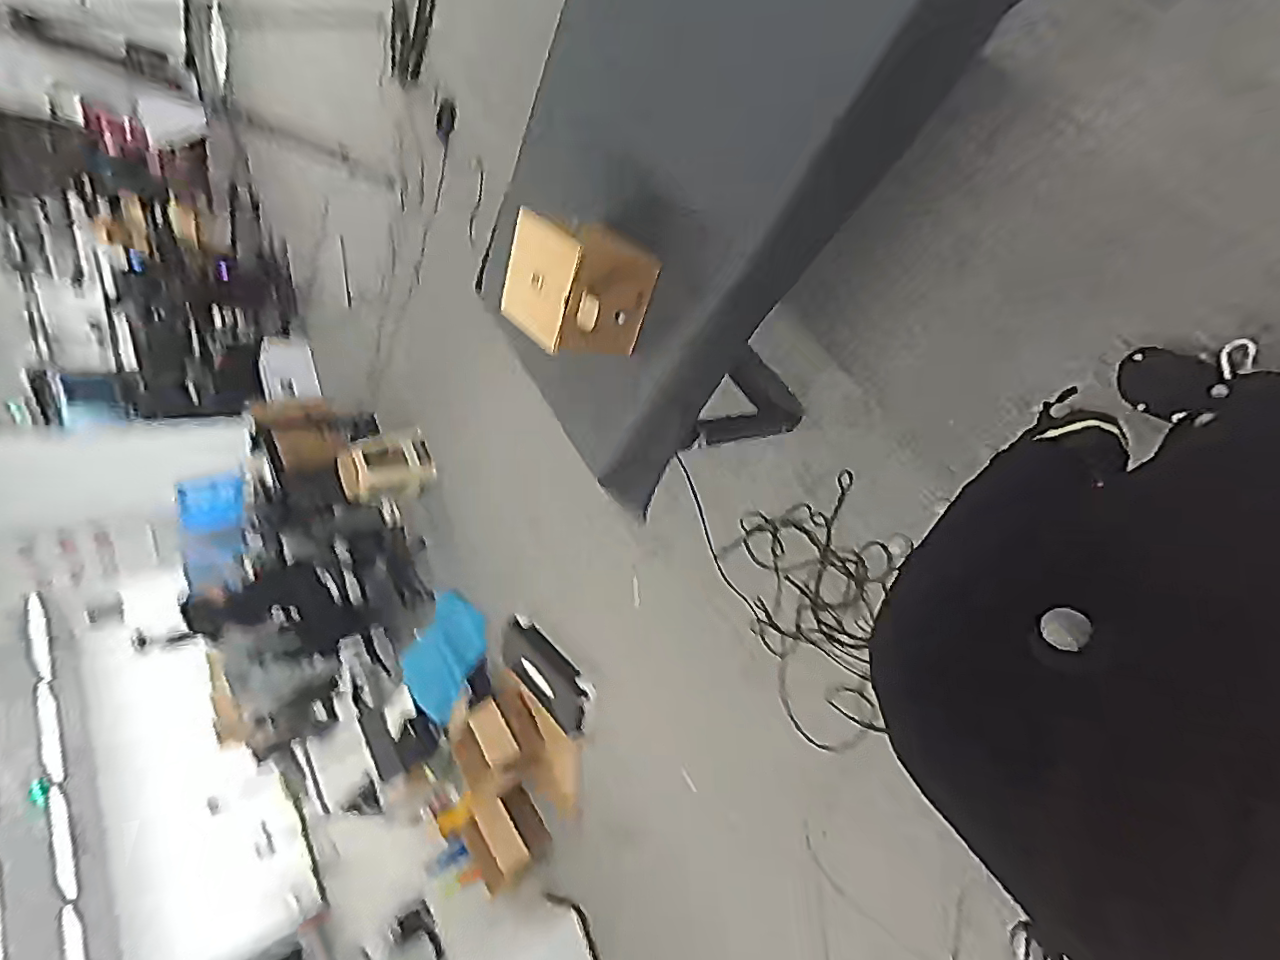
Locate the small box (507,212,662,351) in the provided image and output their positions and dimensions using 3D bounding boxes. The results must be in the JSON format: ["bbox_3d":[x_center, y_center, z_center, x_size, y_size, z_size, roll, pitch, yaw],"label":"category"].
[{"bbox_3d":[-0.095,-0.325,0.909,0.179,0.176,0.168,42,126,32],"label":"small box"}]
